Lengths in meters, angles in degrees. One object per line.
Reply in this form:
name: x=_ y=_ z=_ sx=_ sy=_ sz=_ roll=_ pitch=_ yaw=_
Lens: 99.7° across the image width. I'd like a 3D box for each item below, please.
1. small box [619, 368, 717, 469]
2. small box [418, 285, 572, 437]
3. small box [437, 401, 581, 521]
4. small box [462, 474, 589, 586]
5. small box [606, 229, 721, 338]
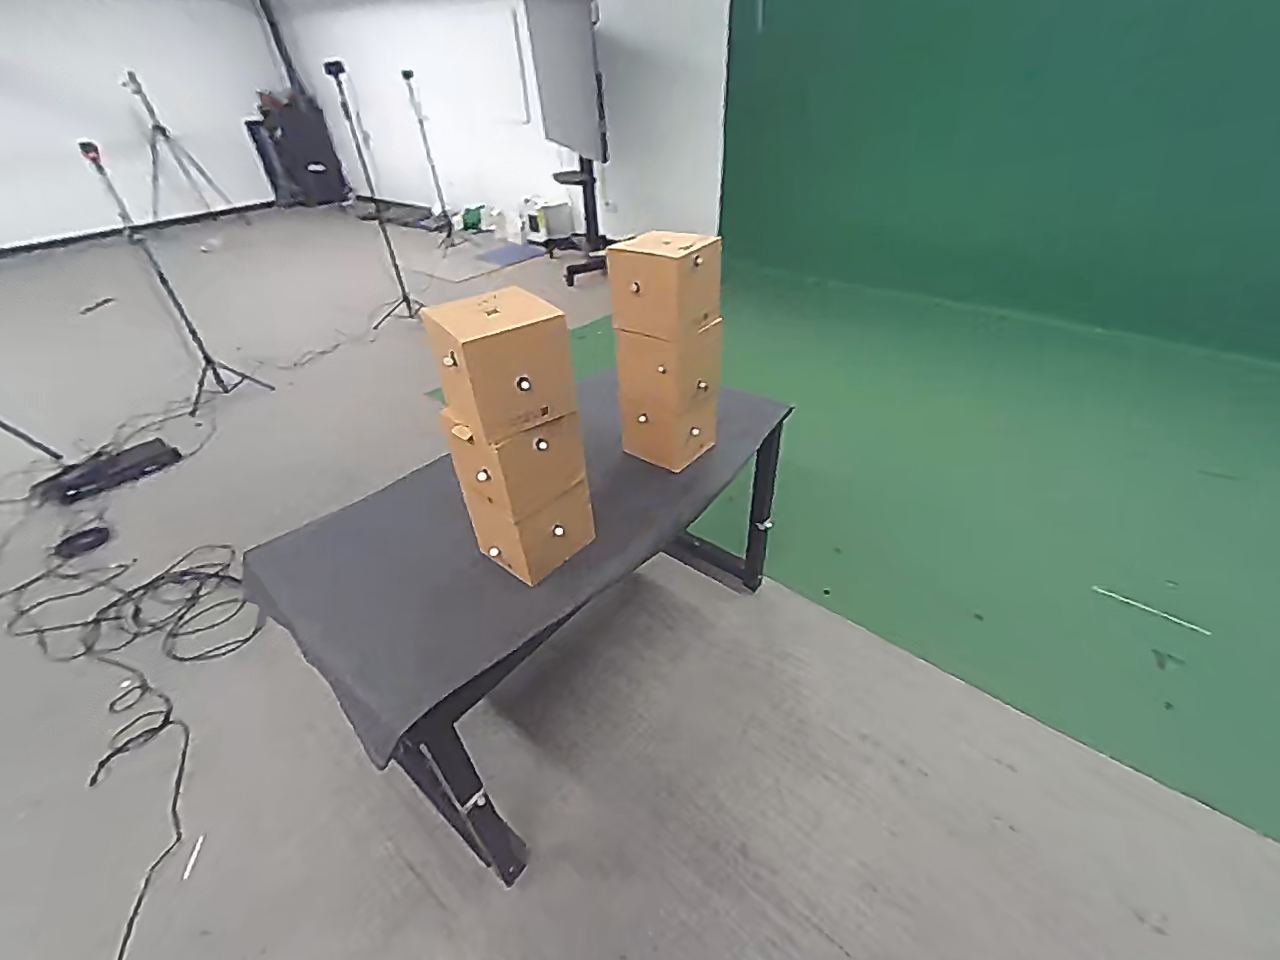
small box: x=0.071 y=-0.148 z=1.321 sx=0.179 sy=0.176 sz=0.168 roll=24 pitch=45 yaw=33
small box: x=-0.222 y=-0.187 z=0.854 sx=0.168 sy=0.176 sz=0.179 roll=-25 pitch=43 yaw=-27
small box: x=-0.222 y=-0.057 z=0.956 sx=0.168 sy=0.176 sz=0.179 roll=27 pitch=46 yaw=33
small box: x=-0.215 y=0.069 z=1.058 sx=0.168 sy=0.176 sz=0.179 roll=26 pitch=46 yaw=33
small box: x=0.053 y=-0.409 z=1.121 sx=0.179 sy=0.176 sz=0.168 roll=21 pitch=44 yaw=31
